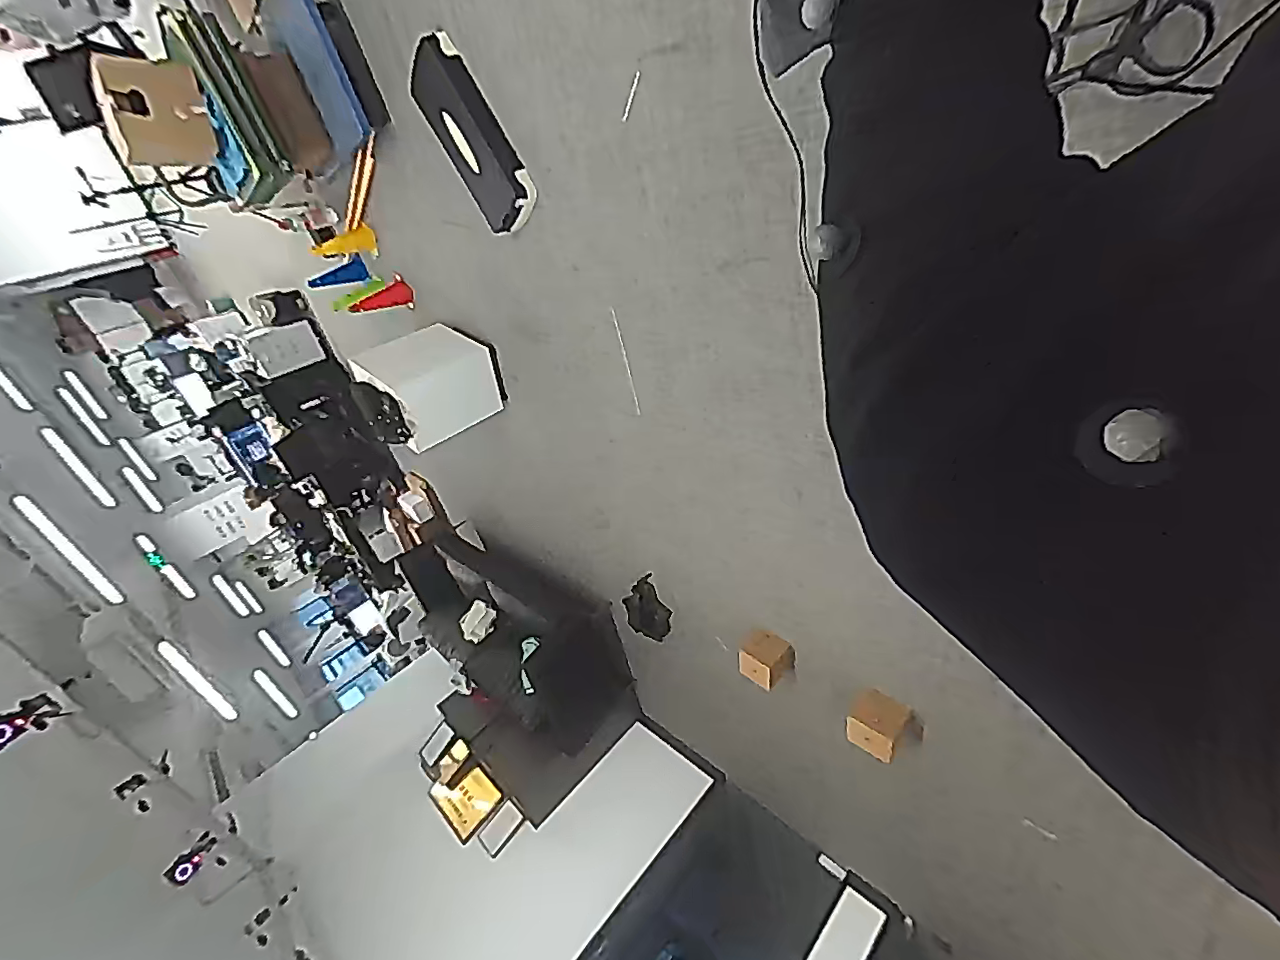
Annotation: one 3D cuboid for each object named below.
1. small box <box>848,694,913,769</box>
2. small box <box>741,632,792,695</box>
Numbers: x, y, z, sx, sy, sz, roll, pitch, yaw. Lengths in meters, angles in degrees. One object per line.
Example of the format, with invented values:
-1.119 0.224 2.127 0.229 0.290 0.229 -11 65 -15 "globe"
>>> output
0.941 0.978 2.123 0.179 0.176 0.168 21 135 42 "small box"
0.578 0.831 2.470 0.168 0.176 0.179 26 139 40 "small box"
